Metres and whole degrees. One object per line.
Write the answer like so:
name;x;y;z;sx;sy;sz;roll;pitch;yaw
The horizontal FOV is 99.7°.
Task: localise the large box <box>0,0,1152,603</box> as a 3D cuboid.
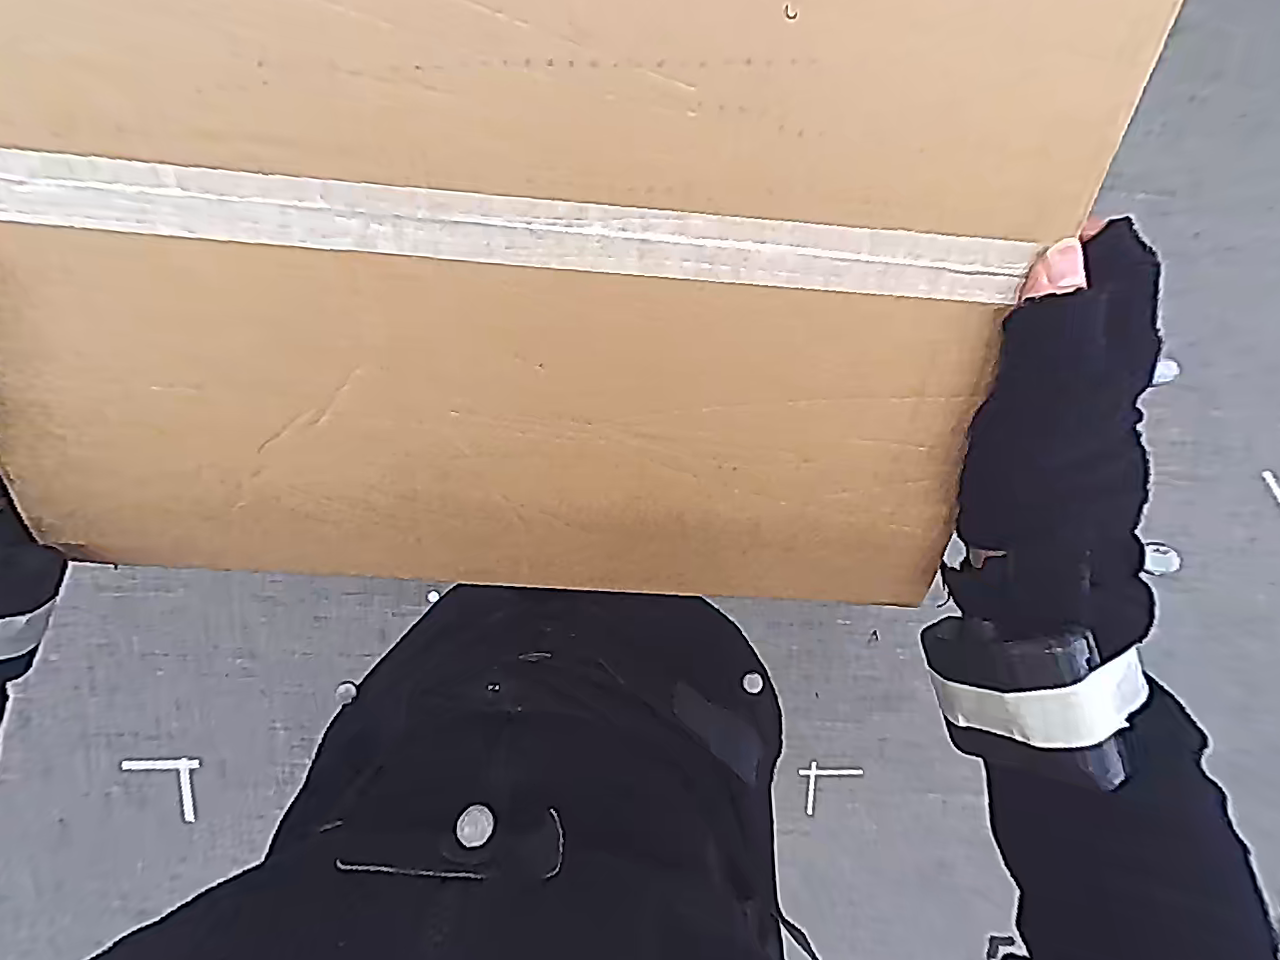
large box;-0.054;-0.151;0.325;0.408;0.320;0.320;4;119;-4
